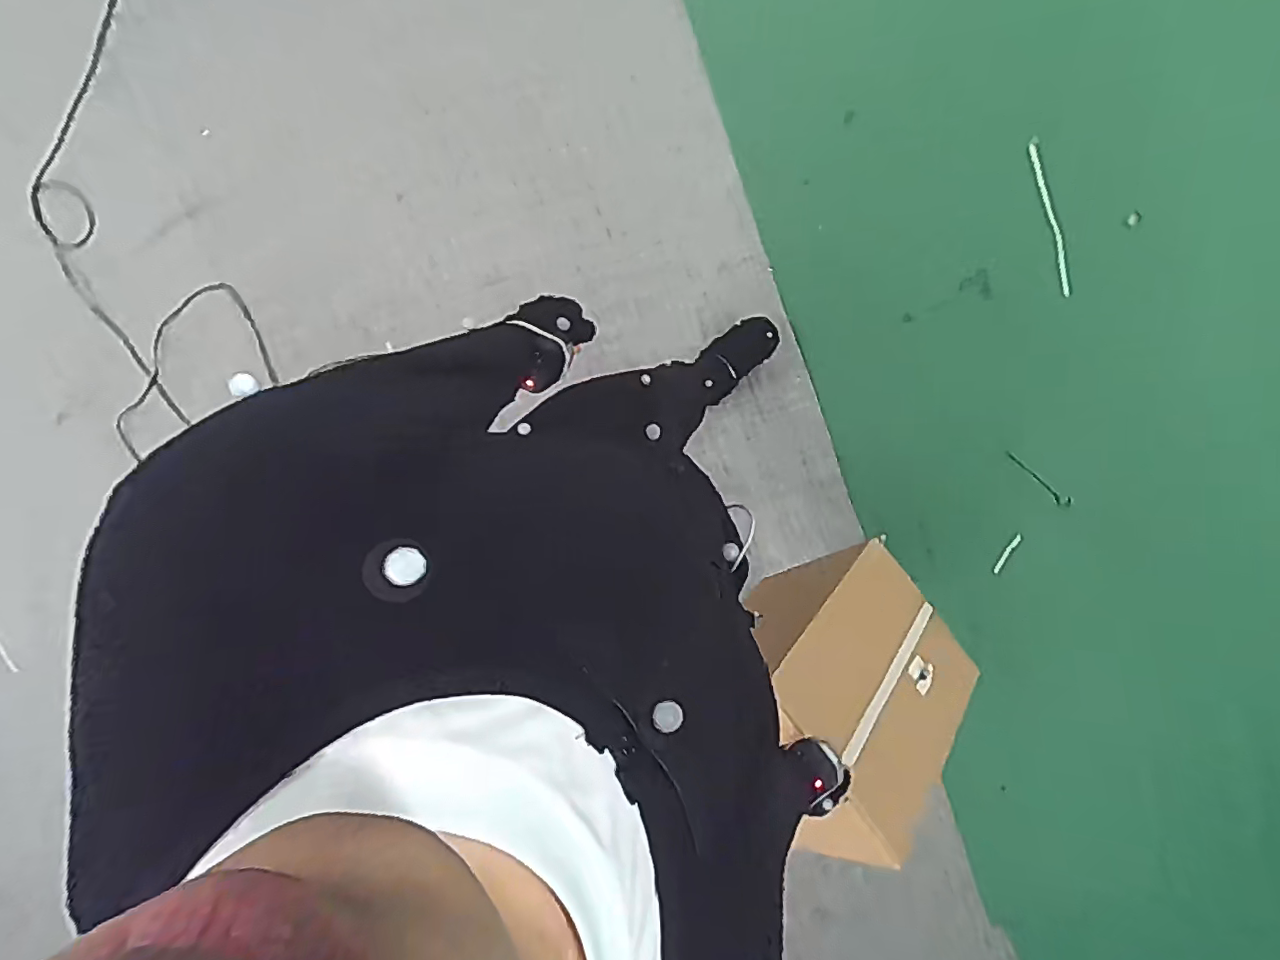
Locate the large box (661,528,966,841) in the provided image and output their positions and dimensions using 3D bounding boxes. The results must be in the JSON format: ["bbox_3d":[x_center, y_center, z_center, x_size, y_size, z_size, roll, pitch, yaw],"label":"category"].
[{"bbox_3d":[0.318,0.359,0.998,0.320,0.408,0.320,54,141,1],"label":"large box"}]
